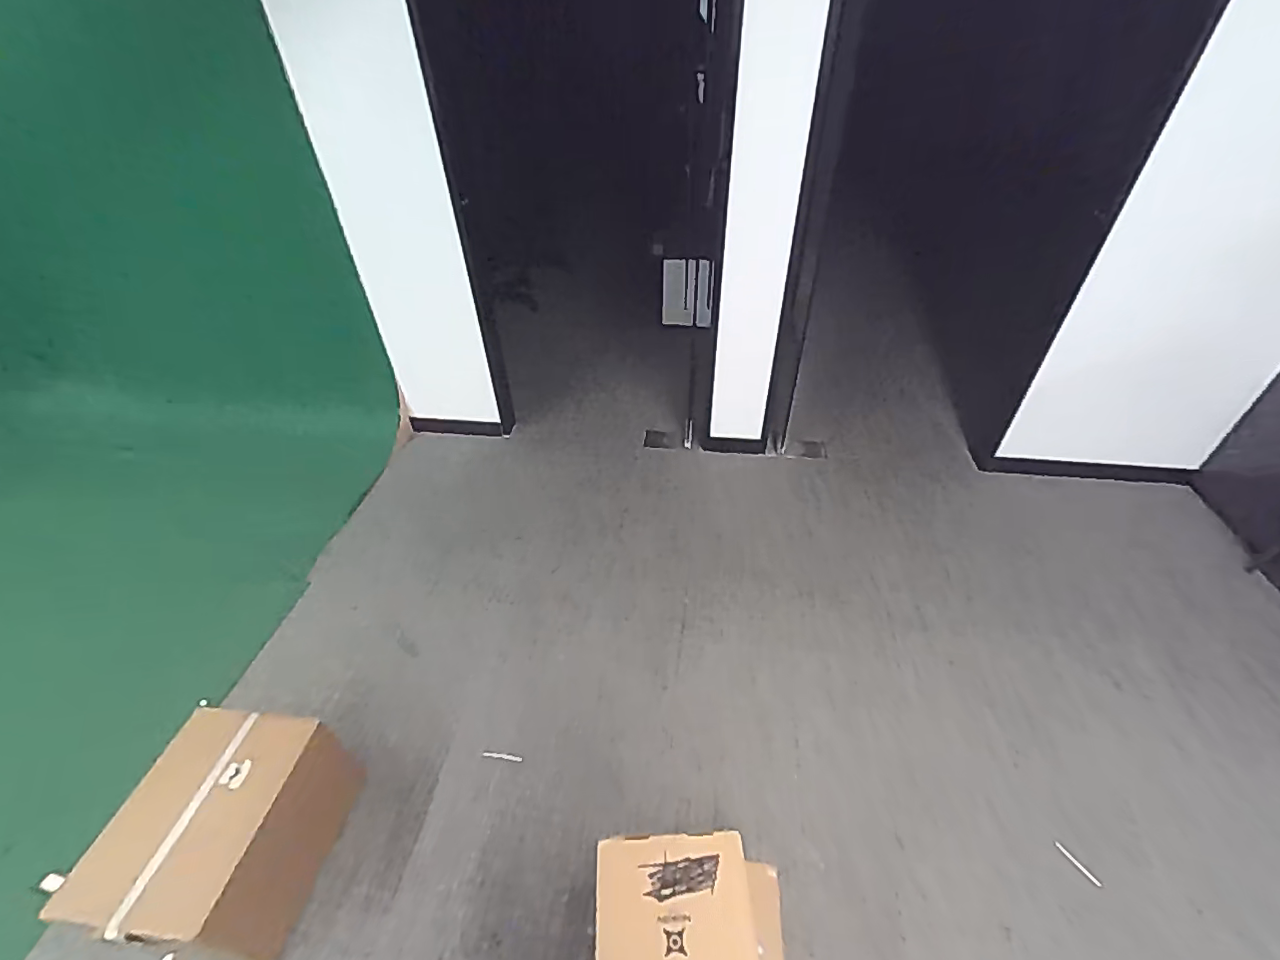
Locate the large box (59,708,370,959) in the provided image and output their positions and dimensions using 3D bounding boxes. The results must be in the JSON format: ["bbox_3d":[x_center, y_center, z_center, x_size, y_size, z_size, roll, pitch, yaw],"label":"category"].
[{"bbox_3d":[-0.892,0.789,1.214,0.320,0.320,0.408,3,40,6],"label":"large box"}]

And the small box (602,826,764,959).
[{"bbox_3d":[0.045,0.522,0.611,0.168,0.176,0.179,-4,41,0],"label":"small box"}]
